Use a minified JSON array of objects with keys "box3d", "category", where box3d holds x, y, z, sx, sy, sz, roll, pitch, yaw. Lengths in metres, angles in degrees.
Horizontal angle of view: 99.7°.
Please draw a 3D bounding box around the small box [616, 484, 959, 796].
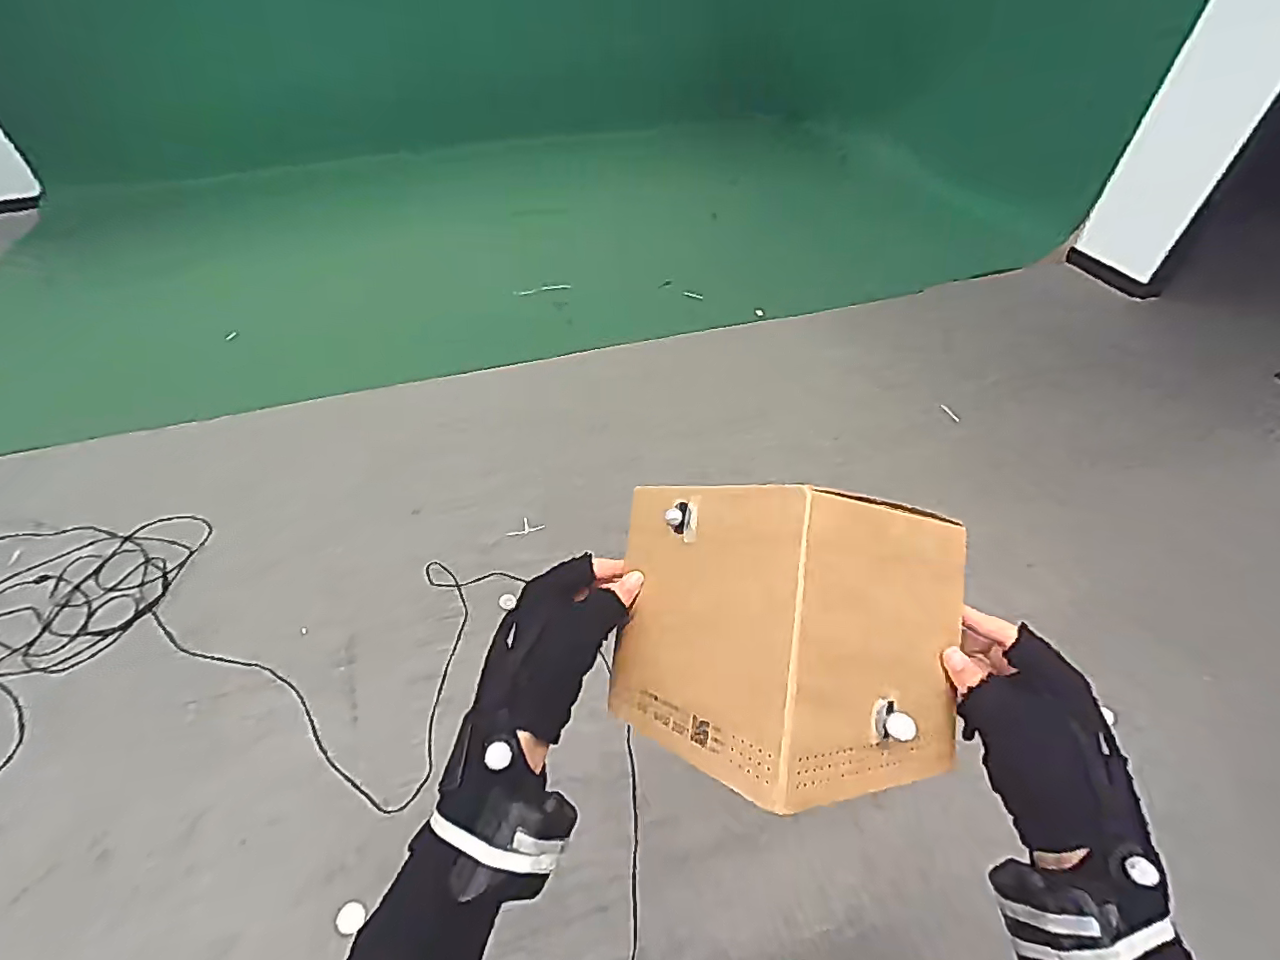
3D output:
[{"box3d":[0.101,0.099,0.394,0.179,0.168,0.176,12,82,-34],"category":"small box"}]
